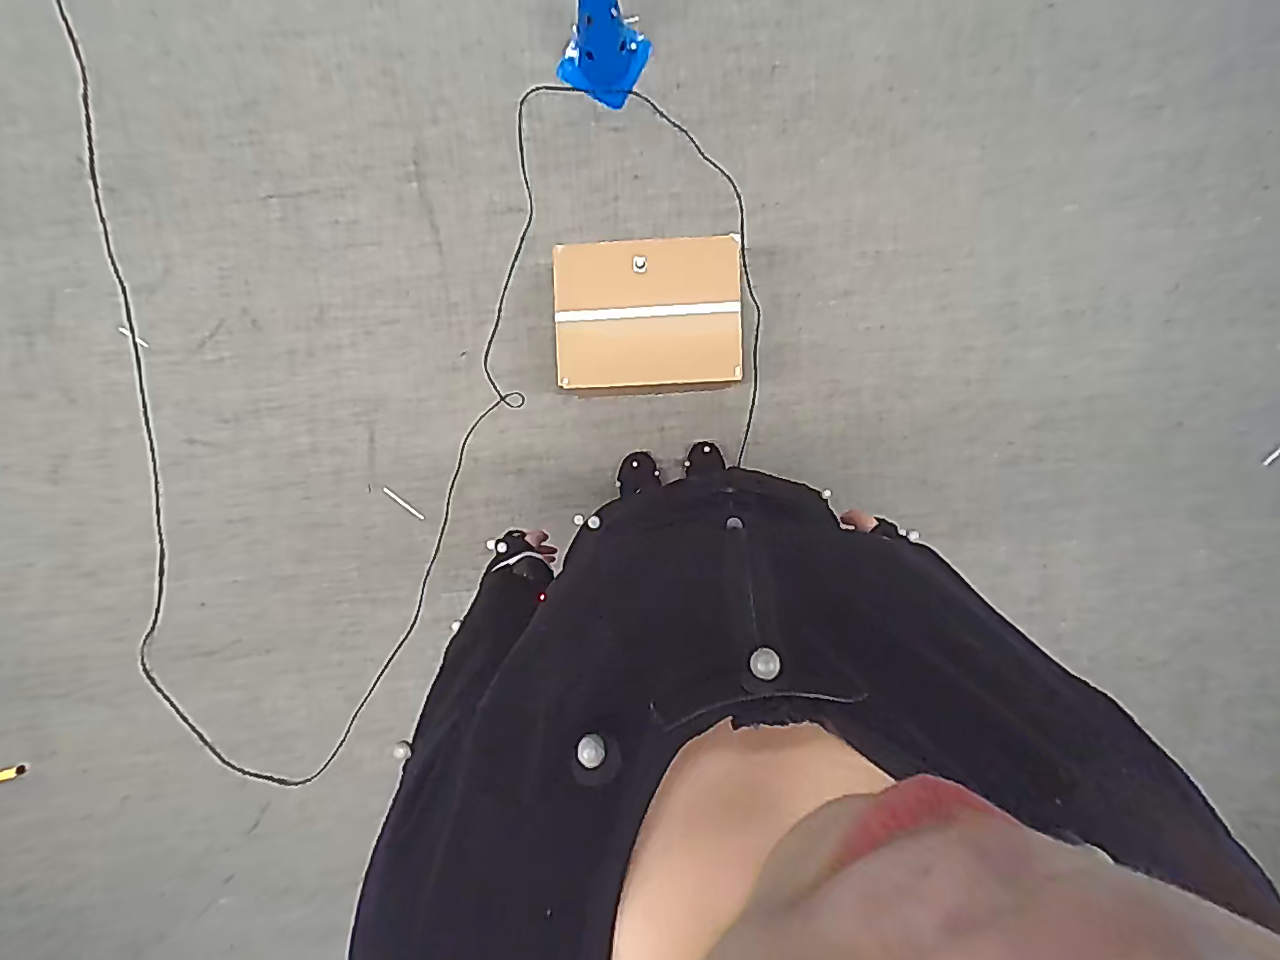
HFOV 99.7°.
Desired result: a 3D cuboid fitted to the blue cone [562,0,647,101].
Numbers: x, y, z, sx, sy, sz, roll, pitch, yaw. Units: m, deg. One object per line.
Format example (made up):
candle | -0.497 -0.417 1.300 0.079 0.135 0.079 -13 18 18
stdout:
blue cone | -0.095 -1.097 1.242 0.192 0.380 0.193 27 93 -2
